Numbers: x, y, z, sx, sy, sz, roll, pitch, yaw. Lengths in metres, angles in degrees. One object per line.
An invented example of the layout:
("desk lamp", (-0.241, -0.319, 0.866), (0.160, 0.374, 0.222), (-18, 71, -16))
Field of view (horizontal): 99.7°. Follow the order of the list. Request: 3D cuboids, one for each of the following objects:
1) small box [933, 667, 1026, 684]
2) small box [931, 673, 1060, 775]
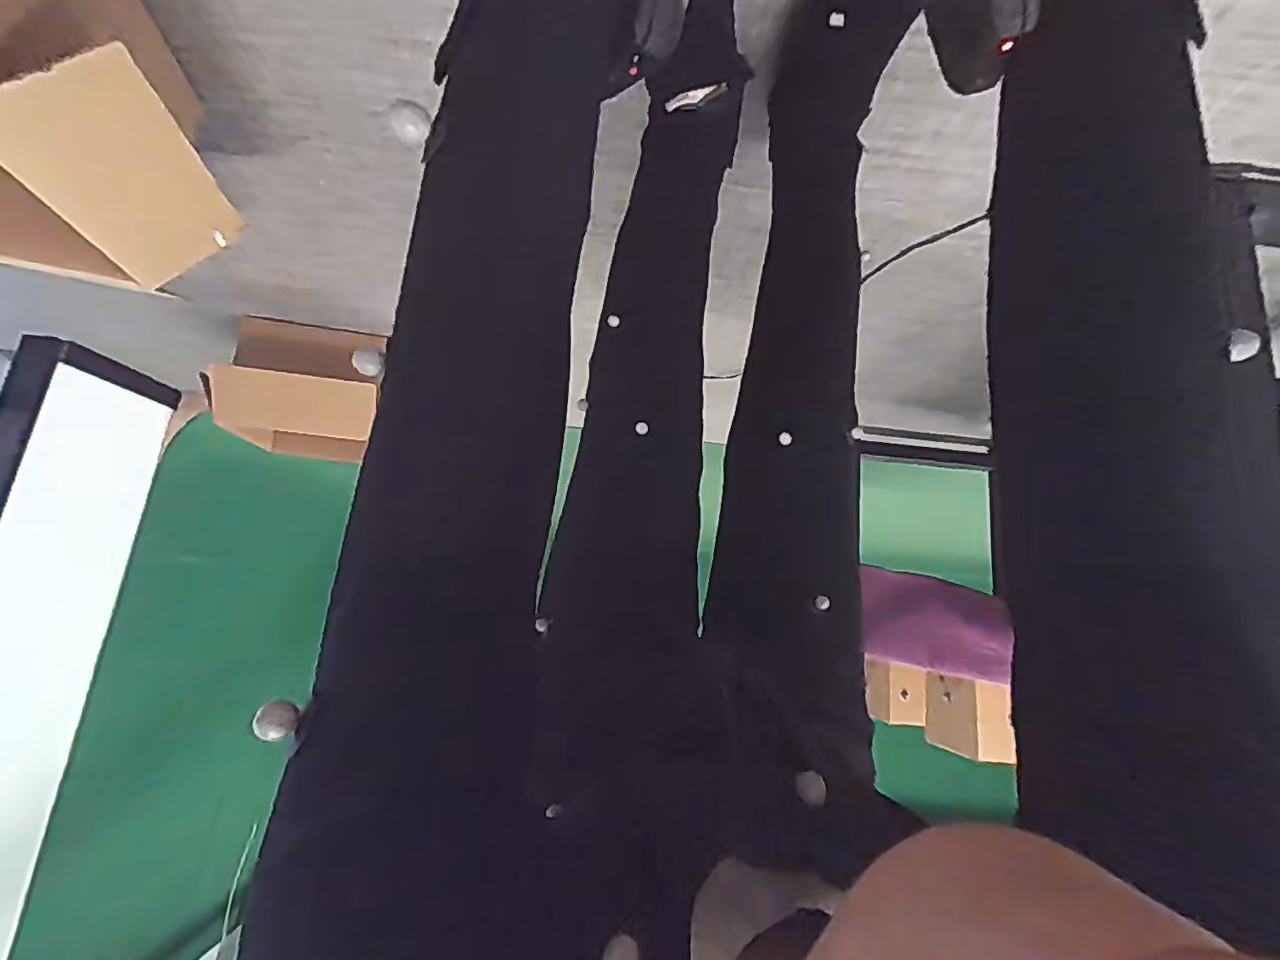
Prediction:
("small box", (0.953, 0.629, 1.524), (0.179, 0.176, 0.168), (9, 166, -8))
("small box", (0.769, 0.526, 1.184), (0.179, 0.176, 0.168), (7, 166, -6))
